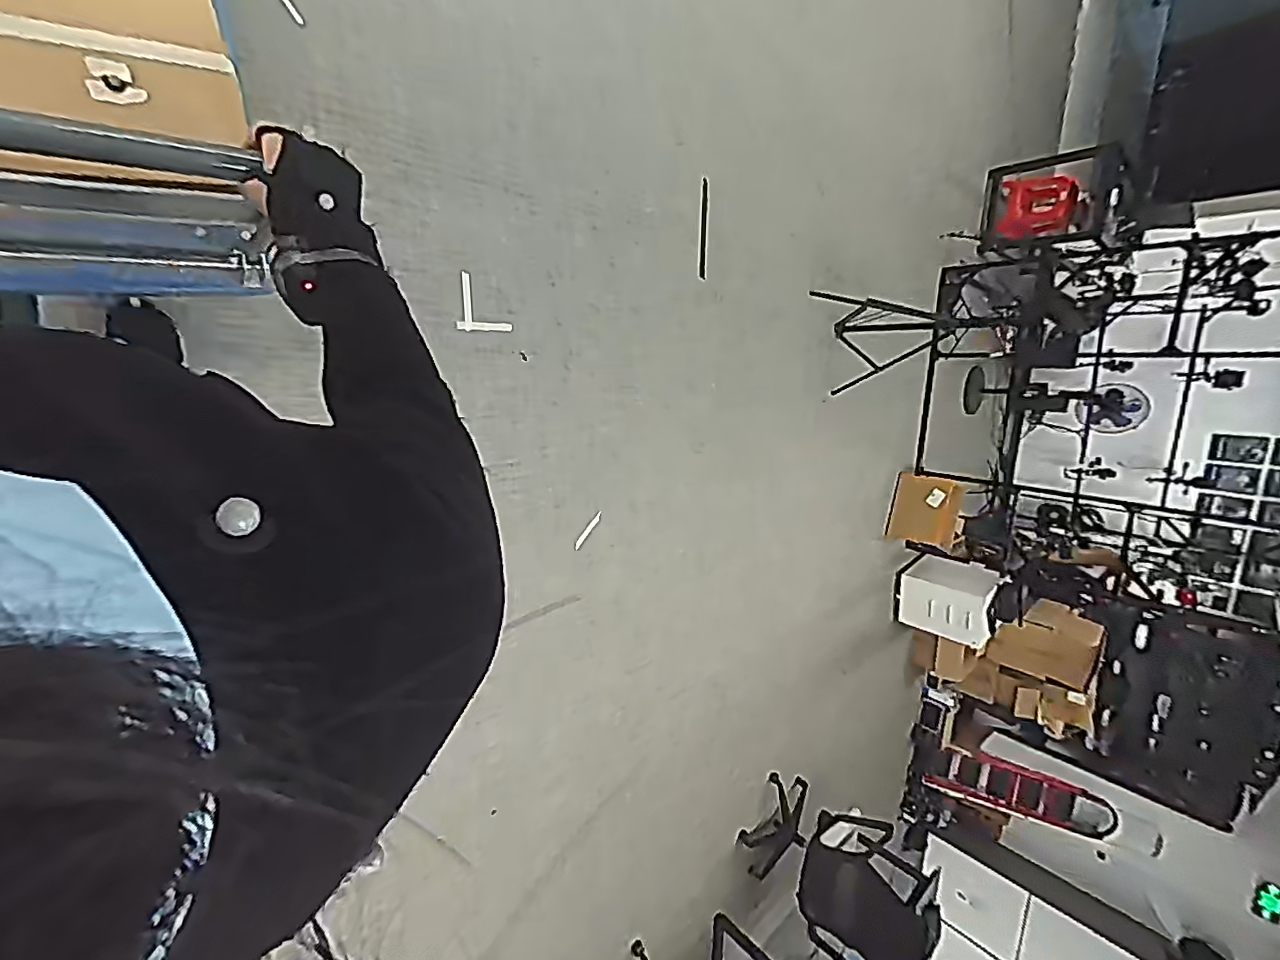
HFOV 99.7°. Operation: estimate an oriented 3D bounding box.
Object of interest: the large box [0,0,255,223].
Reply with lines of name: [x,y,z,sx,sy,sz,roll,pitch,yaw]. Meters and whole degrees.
large box: [-0.840,-0.556,0.750,0.408,0.320,0.320,-20,113,-40]
